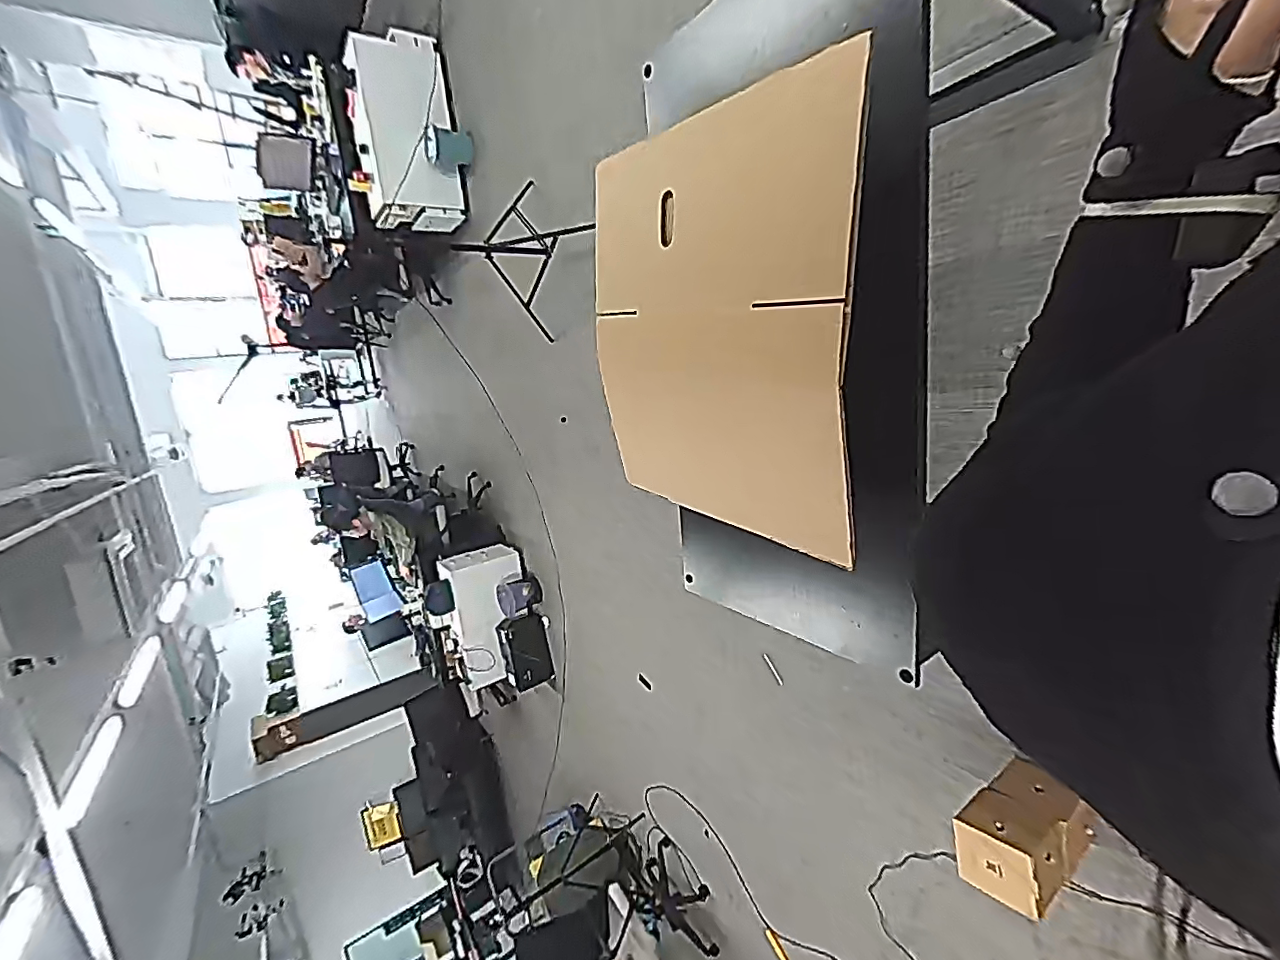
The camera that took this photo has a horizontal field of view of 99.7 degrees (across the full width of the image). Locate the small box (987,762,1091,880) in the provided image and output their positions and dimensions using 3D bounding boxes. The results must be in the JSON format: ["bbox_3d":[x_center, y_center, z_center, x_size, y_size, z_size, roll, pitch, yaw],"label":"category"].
[{"bbox_3d":[1.041,0.875,1.414,0.179,0.176,0.168,5,105,55],"label":"small box"}]

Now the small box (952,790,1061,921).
[{"bbox_3d":[0.906,0.907,1.331,0.179,0.176,0.168,0,100,58],"label":"small box"}]
